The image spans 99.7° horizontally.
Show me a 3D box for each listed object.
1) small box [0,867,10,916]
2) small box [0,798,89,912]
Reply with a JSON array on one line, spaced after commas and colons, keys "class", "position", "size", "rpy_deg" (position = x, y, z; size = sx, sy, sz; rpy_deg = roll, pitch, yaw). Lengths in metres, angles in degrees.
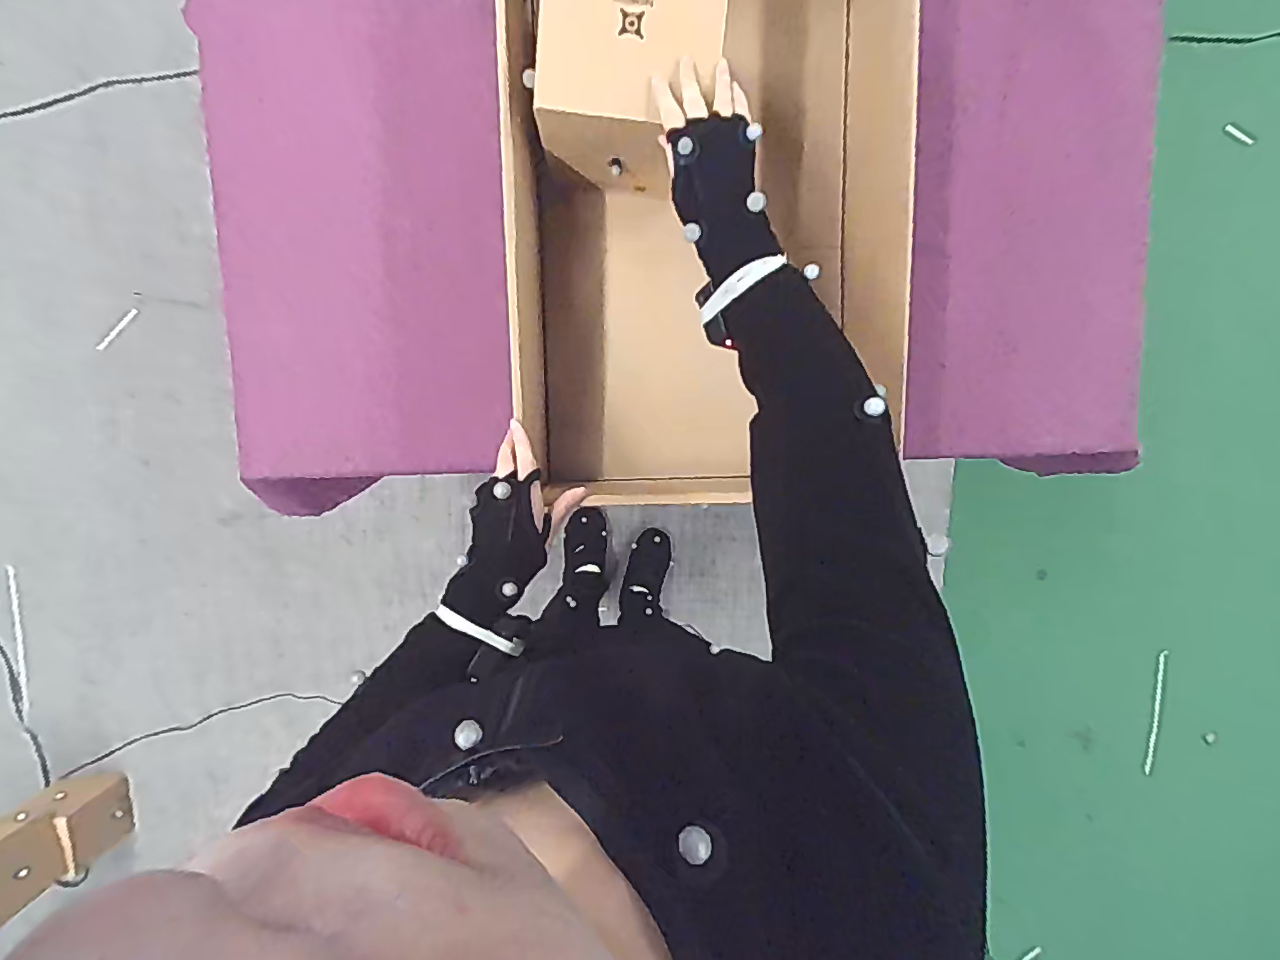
[{"class": "small box", "position": [-1.521, 0.920, 1.140], "size": [0.179, 0.176, 0.168], "rpy_deg": [-8, 96, 0]}, {"class": "small box", "position": [-1.507, 0.901, 1.302], "size": [0.168, 0.176, 0.179], "rpy_deg": [-12, 97, 1]}]
